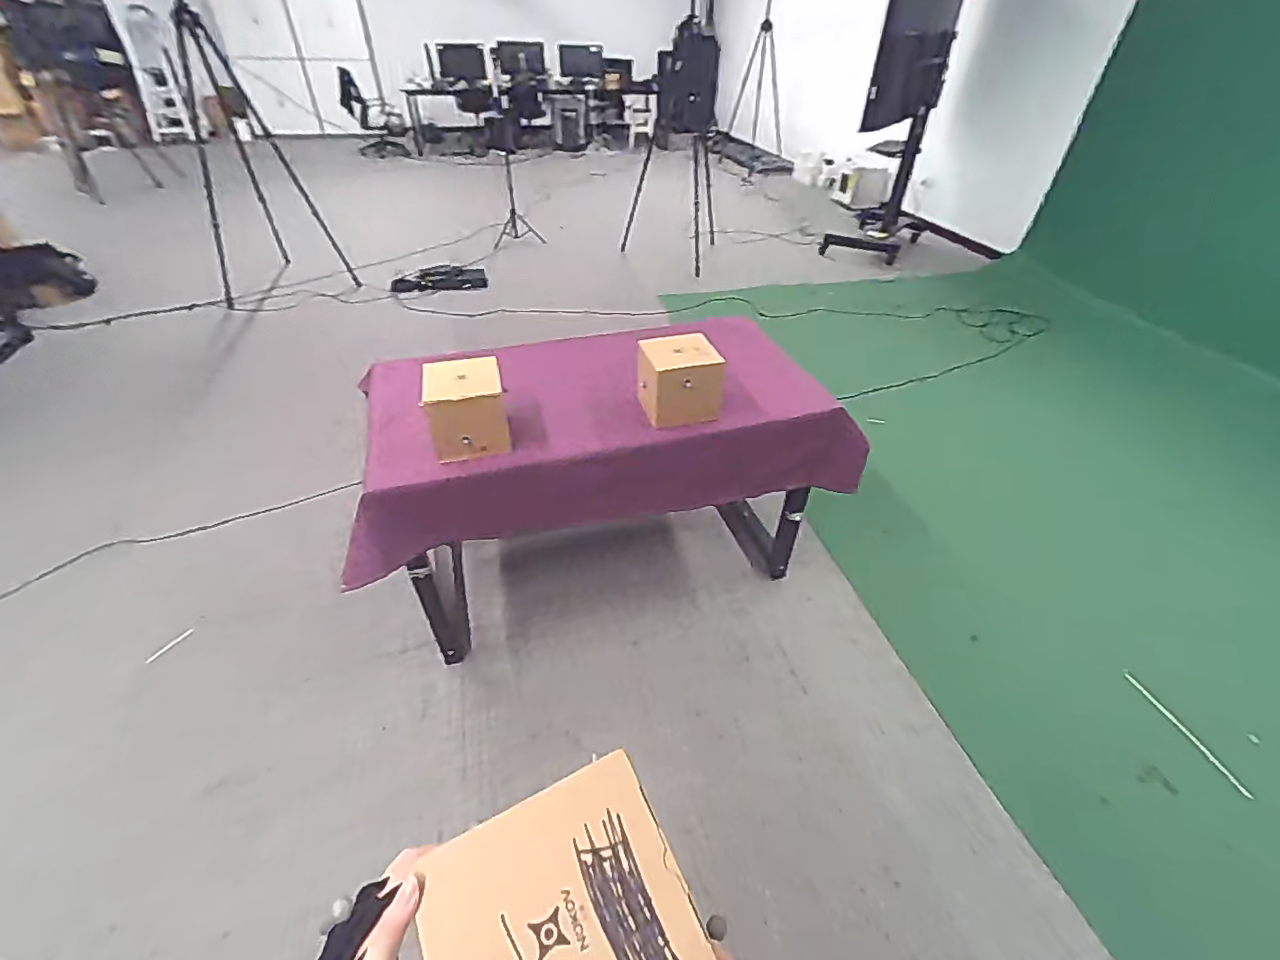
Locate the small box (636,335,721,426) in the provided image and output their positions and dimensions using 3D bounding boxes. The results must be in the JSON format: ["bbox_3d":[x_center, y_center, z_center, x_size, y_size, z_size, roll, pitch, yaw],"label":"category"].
[{"bbox_3d":[0.093,-0.253,1.387,0.179,0.176,0.168,-10,42,-13],"label":"small box"}]

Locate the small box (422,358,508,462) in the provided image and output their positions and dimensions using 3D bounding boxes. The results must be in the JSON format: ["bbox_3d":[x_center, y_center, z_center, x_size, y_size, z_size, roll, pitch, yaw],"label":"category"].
[{"bbox_3d":[-0.408,-0.166,1.270,0.168,0.176,0.179,-10,43,-14],"label":"small box"}]
